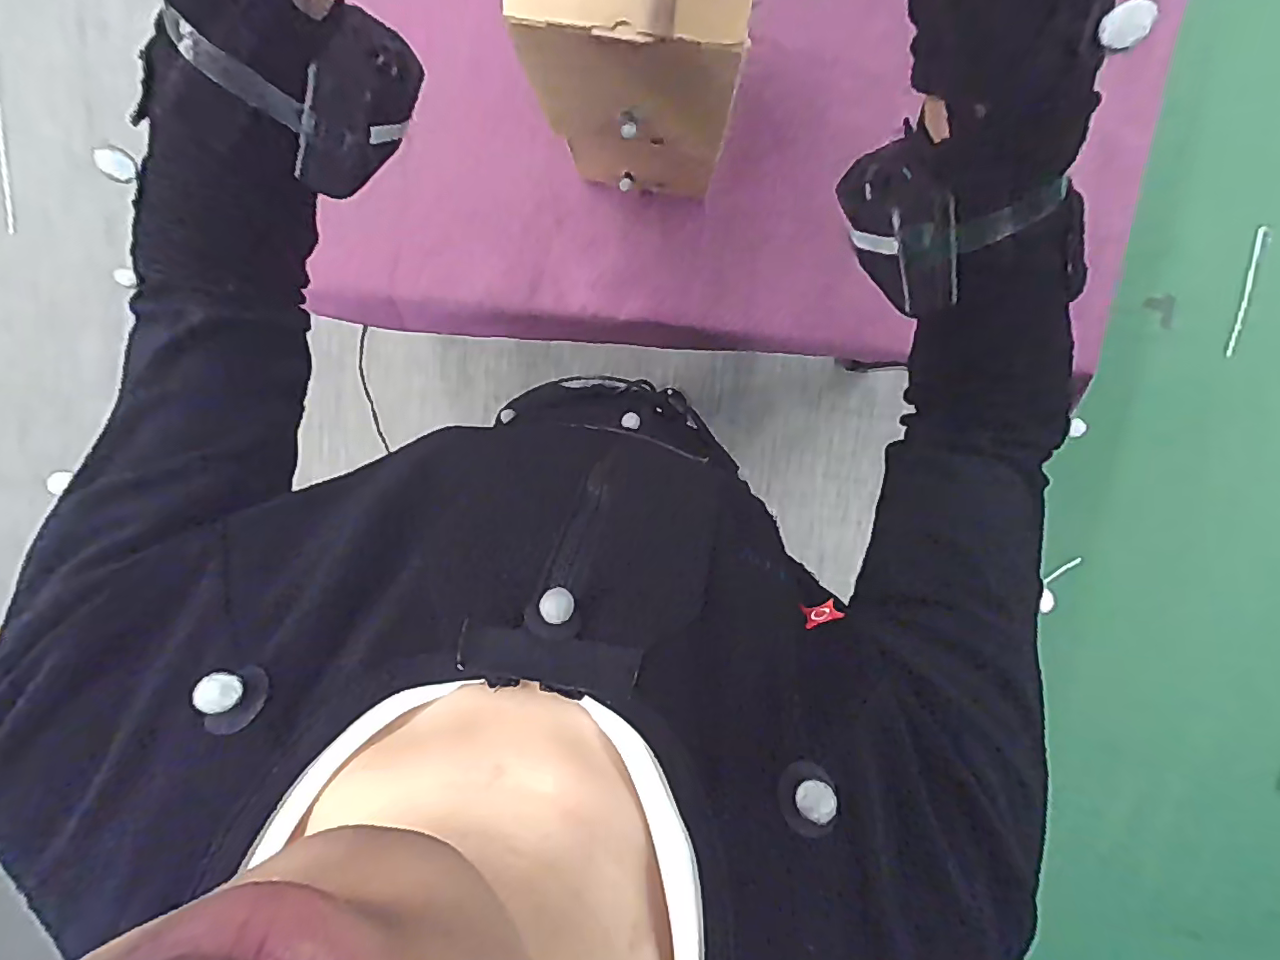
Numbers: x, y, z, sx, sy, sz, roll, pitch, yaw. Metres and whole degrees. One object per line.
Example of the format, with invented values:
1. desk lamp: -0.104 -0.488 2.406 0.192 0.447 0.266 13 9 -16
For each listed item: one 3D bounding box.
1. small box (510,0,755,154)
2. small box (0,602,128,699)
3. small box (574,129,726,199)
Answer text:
1. small box: 0.007 -0.397 0.429 0.168 0.176 0.179 8 99 1
2. small box: -1.418 0.409 1.323 0.179 0.176 0.168 4 100 1
3. small box: 0.017 -0.438 0.588 0.168 0.176 0.179 10 100 0
